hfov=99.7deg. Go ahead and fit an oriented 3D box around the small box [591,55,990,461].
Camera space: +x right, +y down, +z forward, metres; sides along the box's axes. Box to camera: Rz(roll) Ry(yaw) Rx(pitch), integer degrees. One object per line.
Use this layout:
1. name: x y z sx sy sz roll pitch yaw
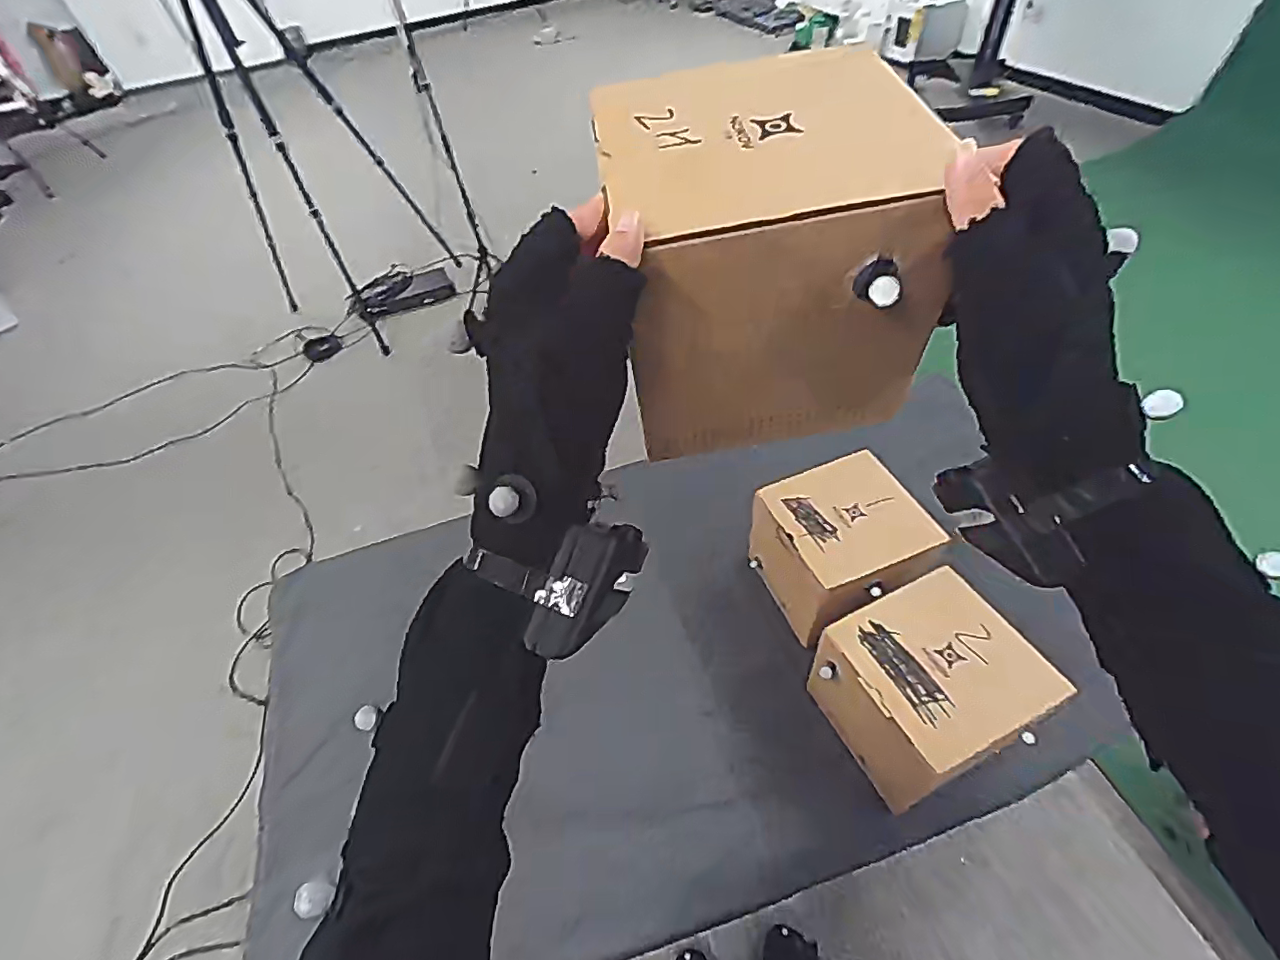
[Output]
1. small box: 0.071 -0.132 0.351 0.179 0.176 0.168 -9 55 2
